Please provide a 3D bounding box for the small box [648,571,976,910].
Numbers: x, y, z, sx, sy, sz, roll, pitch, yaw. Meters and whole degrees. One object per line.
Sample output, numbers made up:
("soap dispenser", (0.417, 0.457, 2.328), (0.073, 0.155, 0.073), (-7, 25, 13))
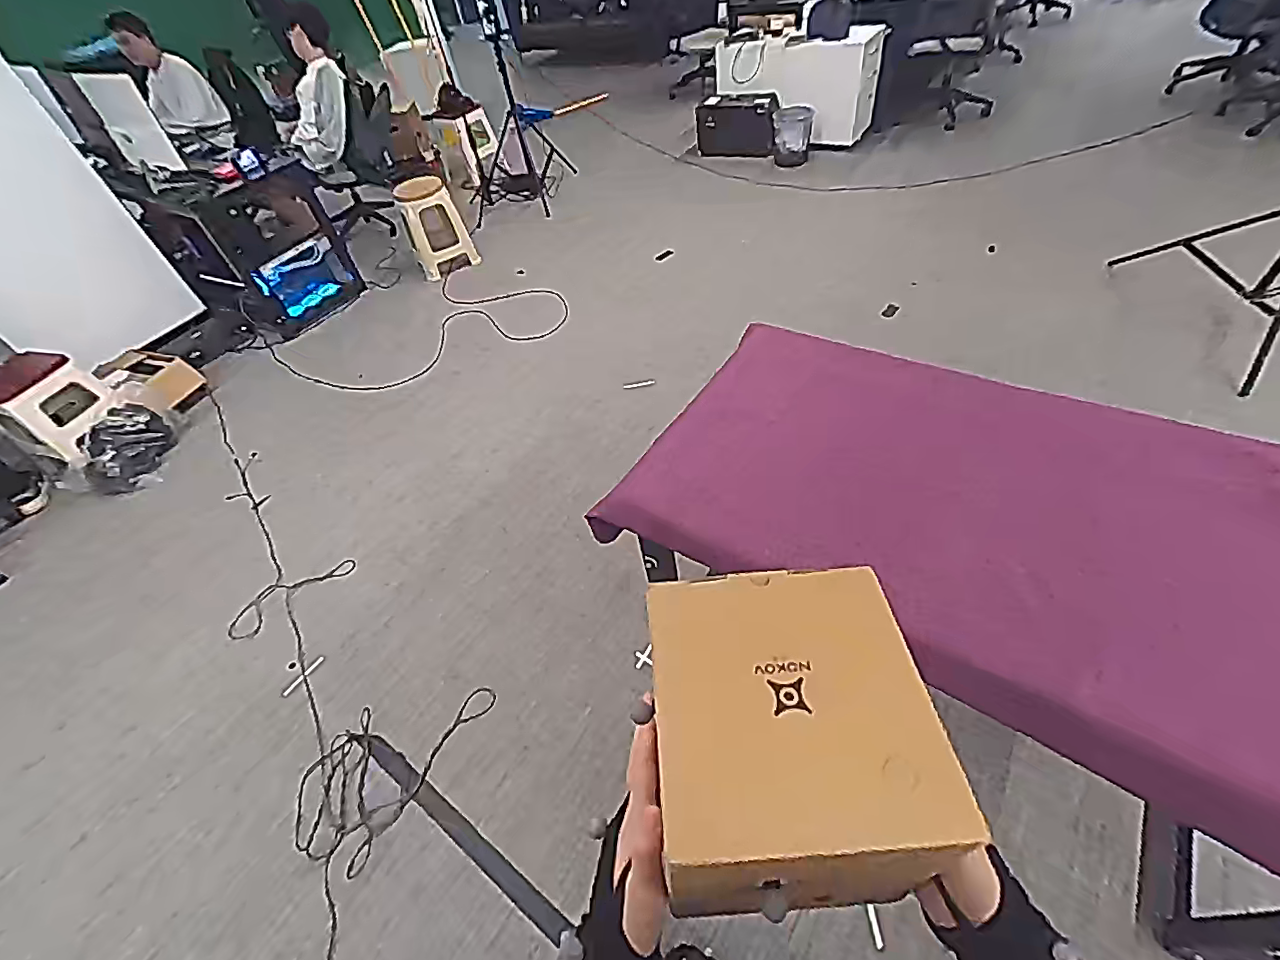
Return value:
("small box", (0.096, 0.191, 0.394), (0.168, 0.176, 0.179), (-5, 43, 0))
